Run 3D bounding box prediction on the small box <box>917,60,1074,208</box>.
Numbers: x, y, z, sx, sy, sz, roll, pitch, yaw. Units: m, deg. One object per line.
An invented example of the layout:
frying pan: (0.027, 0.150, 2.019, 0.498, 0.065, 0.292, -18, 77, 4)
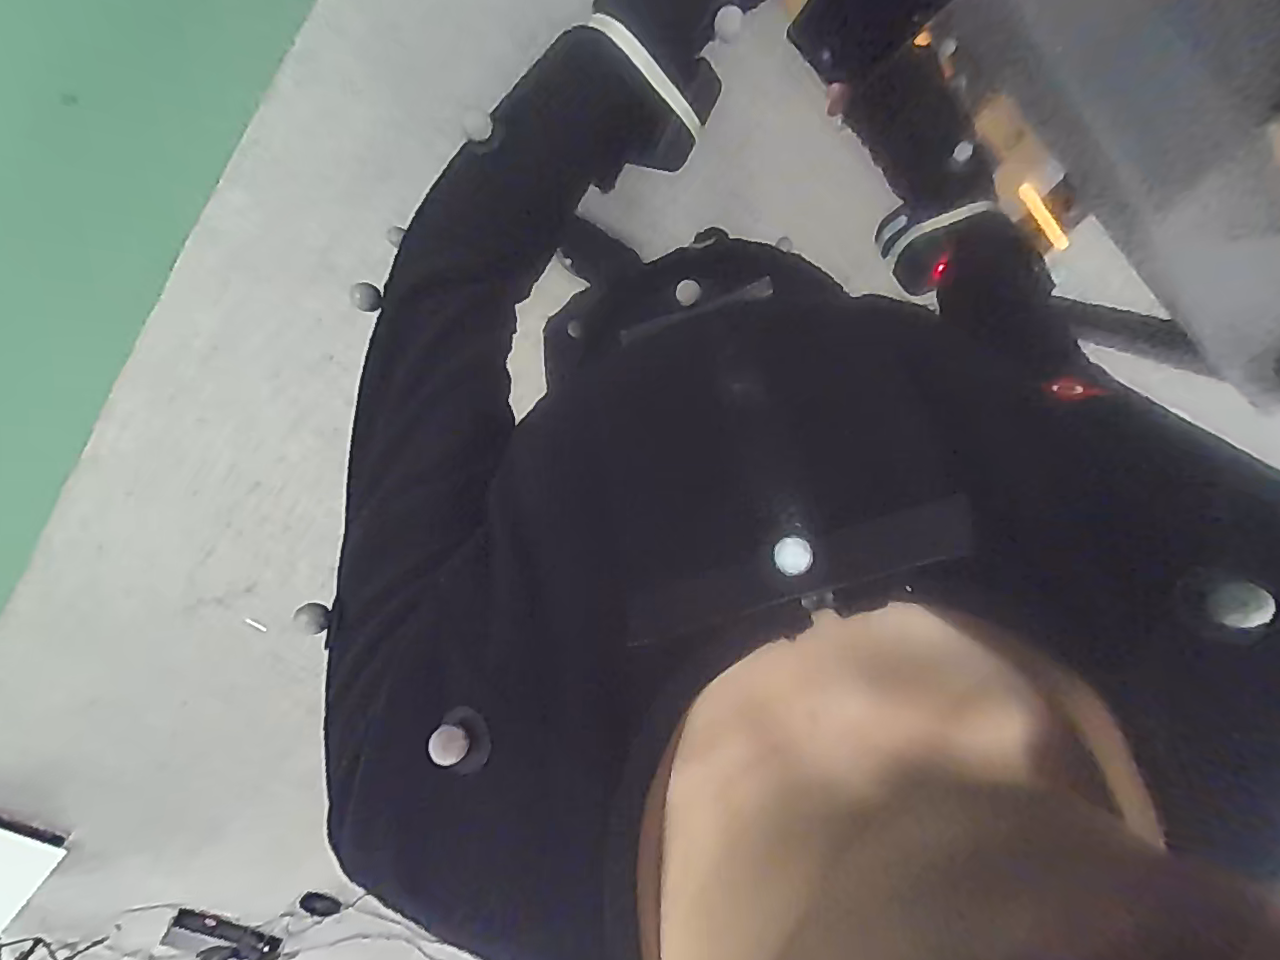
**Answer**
small box: (0.681, -0.663, 1.063, 0.179, 0.176, 0.168, -42, 112, 17)
